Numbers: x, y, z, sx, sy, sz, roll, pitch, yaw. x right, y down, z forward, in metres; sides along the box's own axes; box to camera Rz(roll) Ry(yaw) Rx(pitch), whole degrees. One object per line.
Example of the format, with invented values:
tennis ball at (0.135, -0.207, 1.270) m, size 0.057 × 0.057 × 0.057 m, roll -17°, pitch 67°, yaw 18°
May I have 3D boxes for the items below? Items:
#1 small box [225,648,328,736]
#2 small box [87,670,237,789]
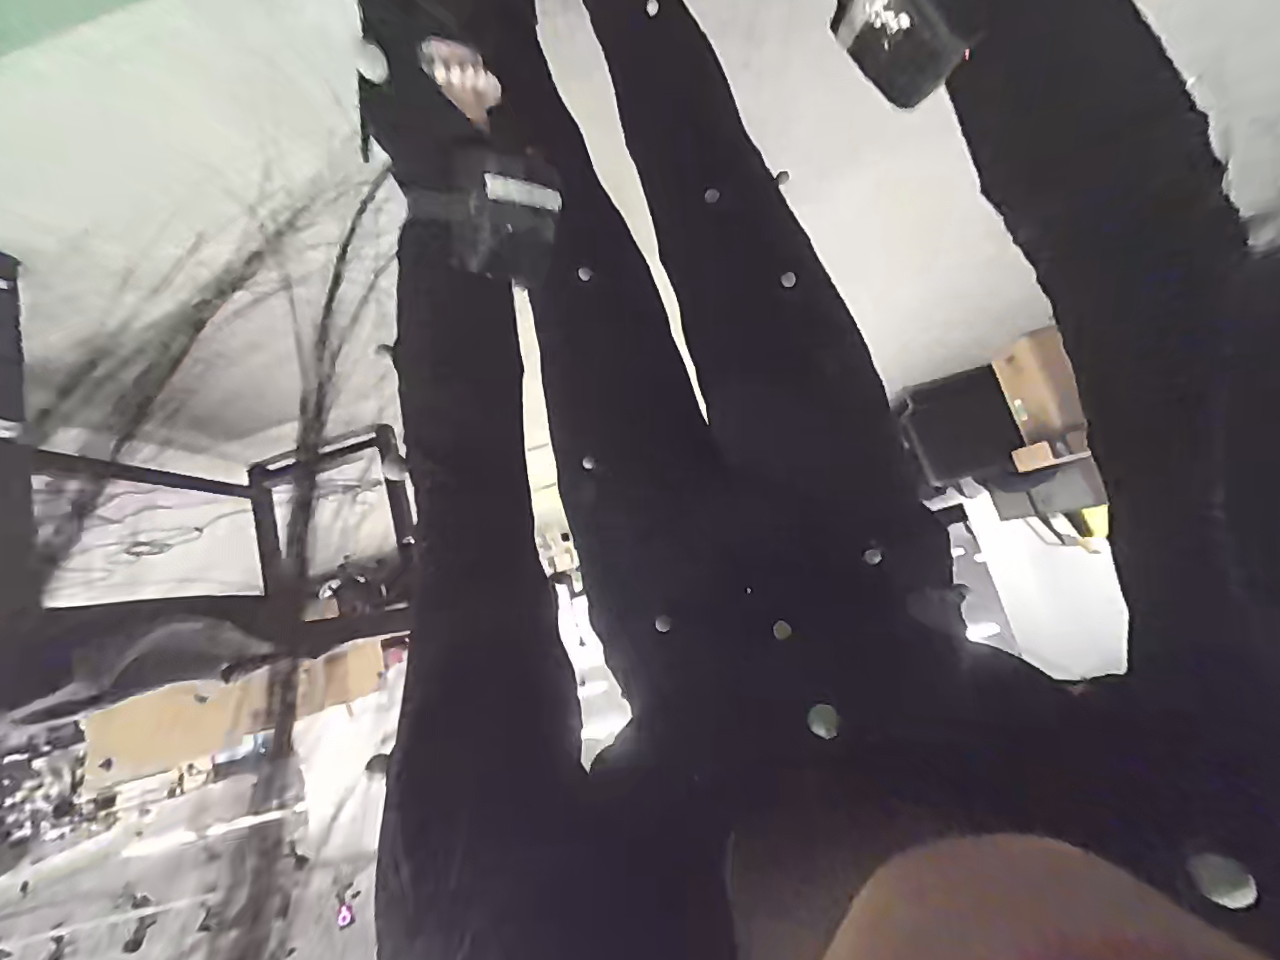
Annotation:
small box at (-0.965, 0.553, 1.428) m, size 0.179 × 0.176 × 0.168 m, roll -17°, pitch 169°, yaw 3°
small box at (-0.998, 0.511, 1.134) m, size 0.179 × 0.176 × 0.168 m, roll -16°, pitch 170°, yaw 2°
